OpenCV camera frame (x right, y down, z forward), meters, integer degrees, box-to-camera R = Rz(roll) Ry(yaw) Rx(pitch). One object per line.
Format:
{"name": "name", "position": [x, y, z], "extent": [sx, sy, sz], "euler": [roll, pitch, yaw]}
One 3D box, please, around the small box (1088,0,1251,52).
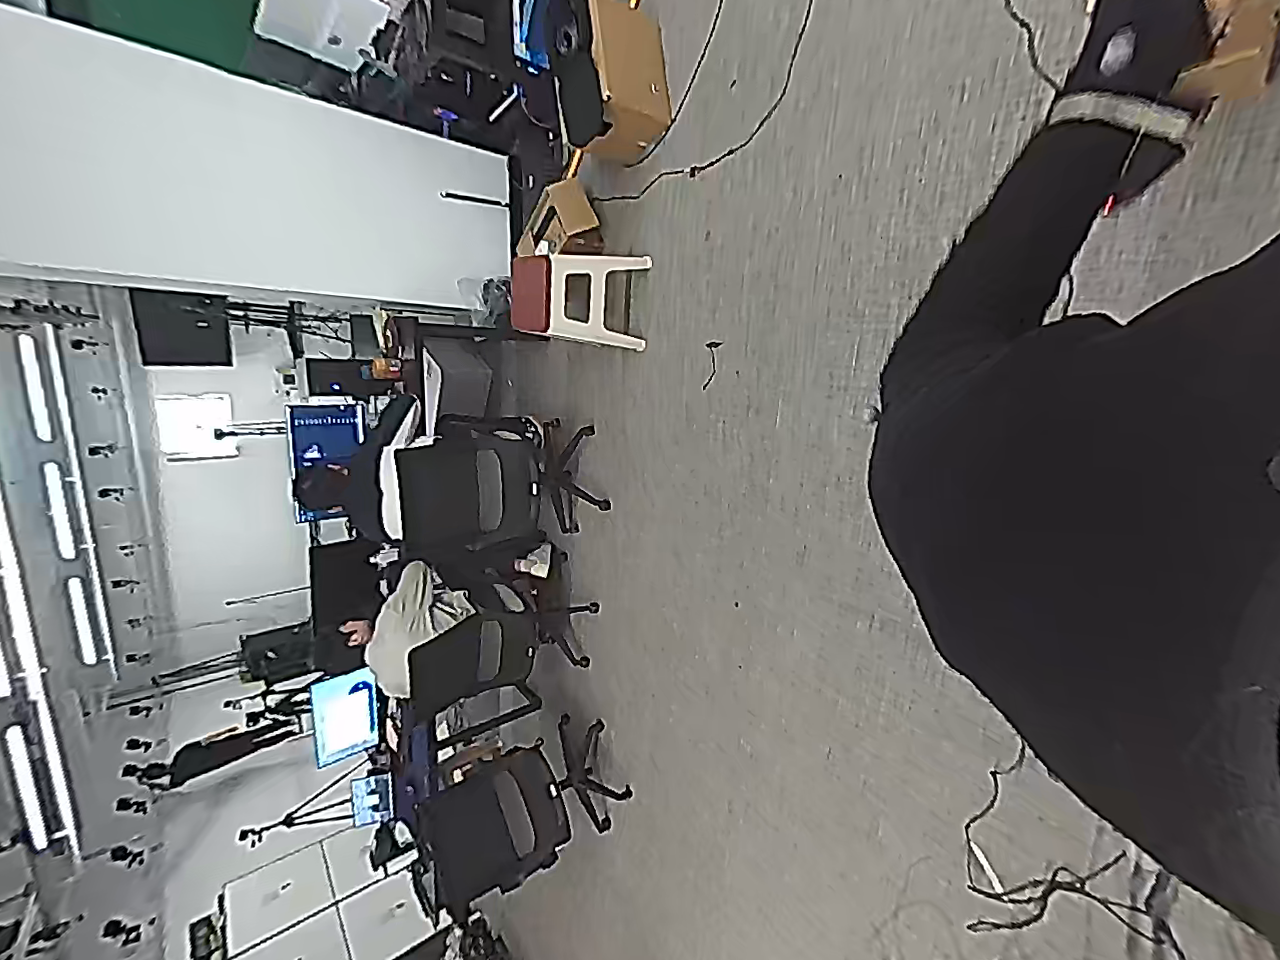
{"name": "small box", "position": [0.751, -0.756, 0.750], "extent": [0.168, 0.176, 0.179], "euler": [7, 101, 50]}

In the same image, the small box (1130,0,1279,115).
{"name": "small box", "position": [1.005, -0.788, 0.954], "extent": [0.168, 0.176, 0.179], "euler": [15, 108, 49]}

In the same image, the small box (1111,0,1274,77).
{"name": "small box", "position": [0.878, -0.778, 0.853], "extent": [0.168, 0.176, 0.179], "euler": [10, 102, 49]}
